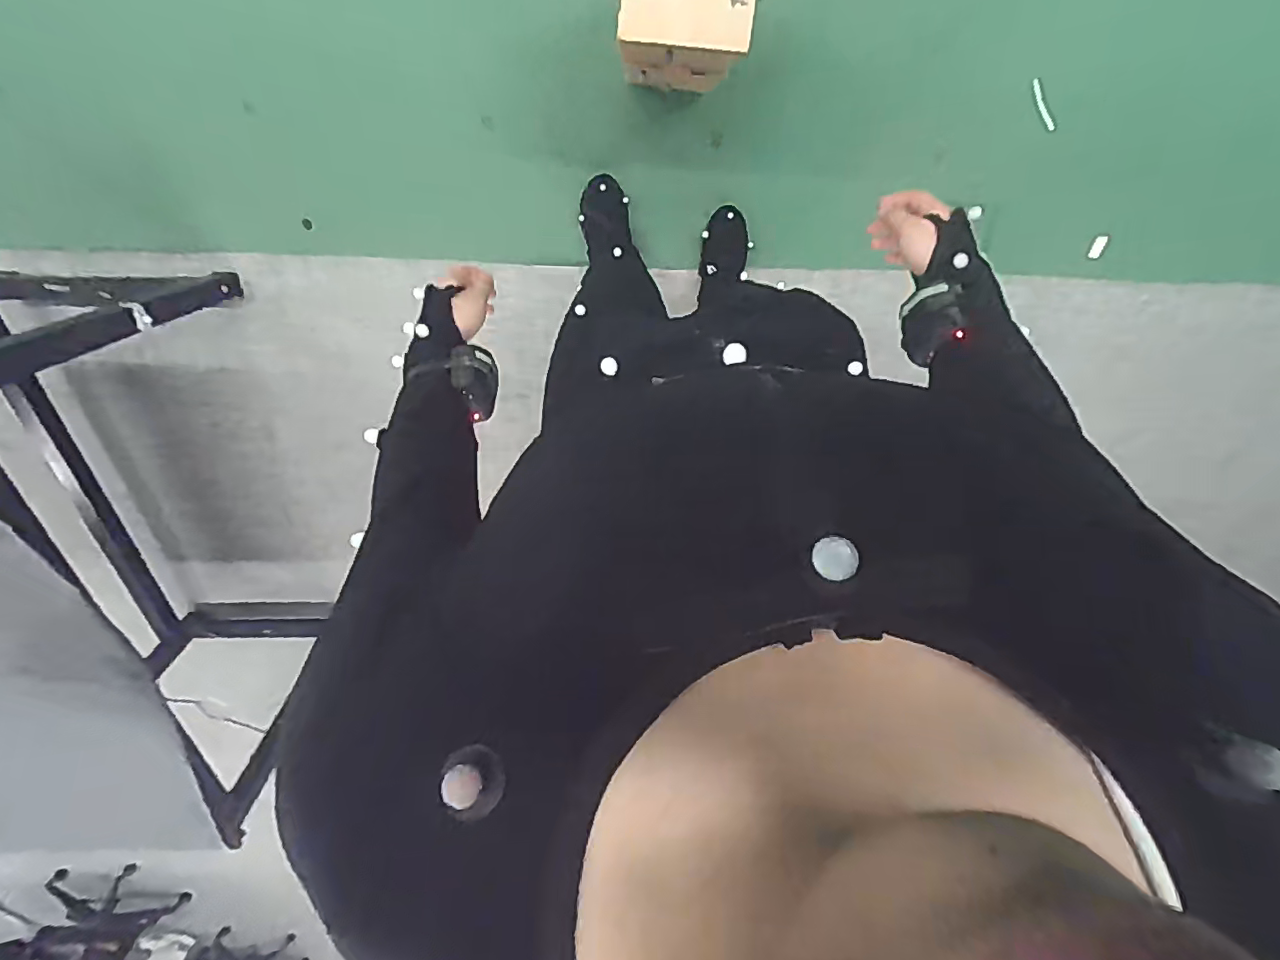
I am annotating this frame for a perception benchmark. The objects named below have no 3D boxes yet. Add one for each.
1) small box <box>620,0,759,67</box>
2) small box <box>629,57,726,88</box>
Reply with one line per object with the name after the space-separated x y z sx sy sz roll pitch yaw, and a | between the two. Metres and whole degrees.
0.067 -0.676 0.731 0.179 0.176 0.168 4 121 -2 | small box
0.073 -0.847 1.012 0.179 0.176 0.168 4 122 -3 | small box
